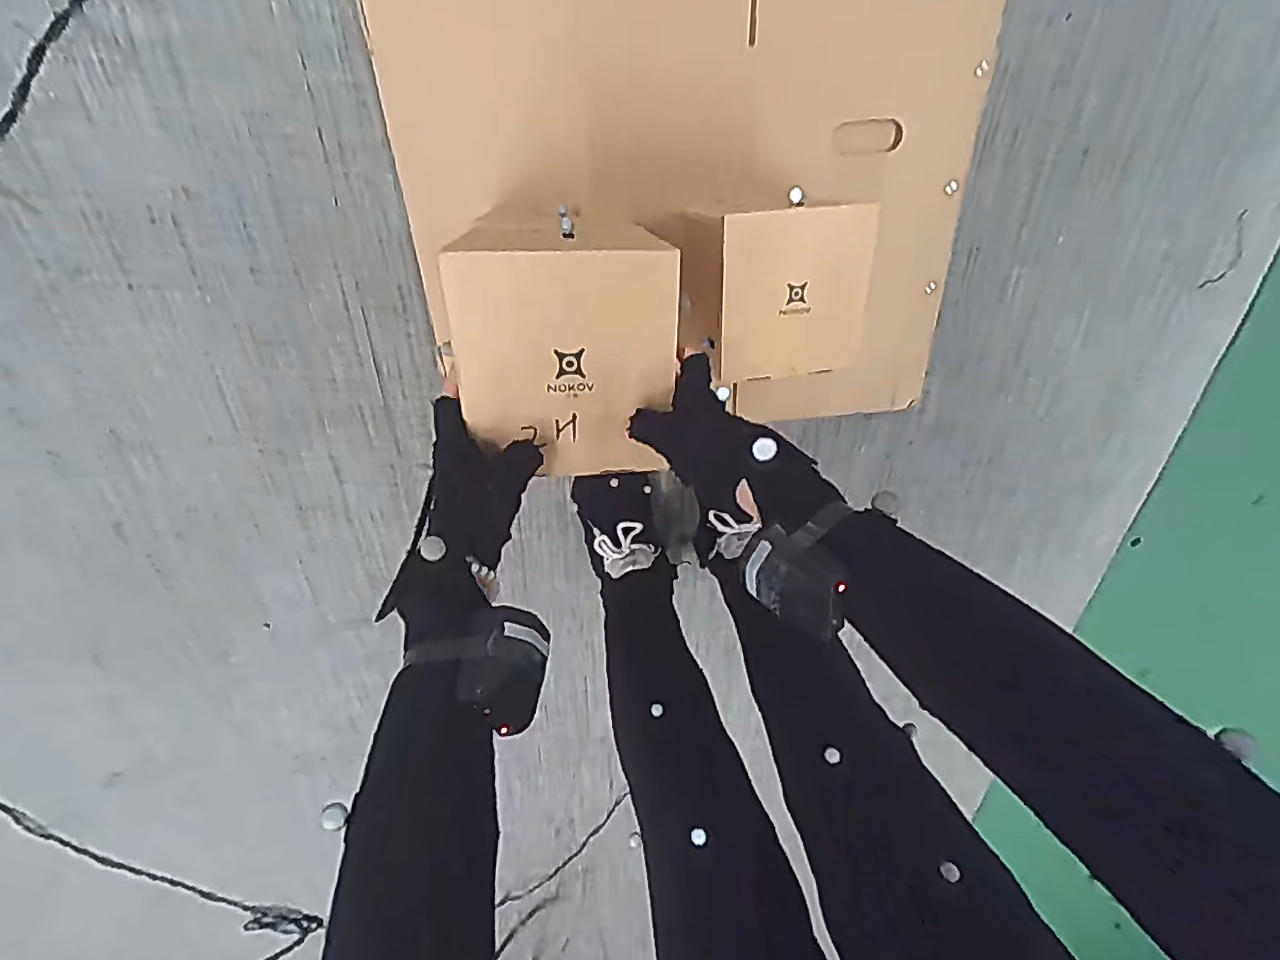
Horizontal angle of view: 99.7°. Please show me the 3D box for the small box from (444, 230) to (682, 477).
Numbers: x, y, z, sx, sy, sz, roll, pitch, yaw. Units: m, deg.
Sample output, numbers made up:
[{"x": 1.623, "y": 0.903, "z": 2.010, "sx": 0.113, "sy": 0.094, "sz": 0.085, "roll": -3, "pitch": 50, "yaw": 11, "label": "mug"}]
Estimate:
[{"x": -0.064, "y": -0.120, "z": 0.475, "sx": 0.168, "sy": 0.176, "sz": 0.179, "roll": -3, "pitch": 119, "yaw": -7, "label": "small box"}]

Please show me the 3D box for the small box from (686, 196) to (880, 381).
[{"x": 0.153, "y": -0.235, "z": 0.641, "sx": 0.168, "sy": 0.176, "sz": 0.179, "roll": -8, "pitch": 121, "yaw": -6, "label": "small box"}]
